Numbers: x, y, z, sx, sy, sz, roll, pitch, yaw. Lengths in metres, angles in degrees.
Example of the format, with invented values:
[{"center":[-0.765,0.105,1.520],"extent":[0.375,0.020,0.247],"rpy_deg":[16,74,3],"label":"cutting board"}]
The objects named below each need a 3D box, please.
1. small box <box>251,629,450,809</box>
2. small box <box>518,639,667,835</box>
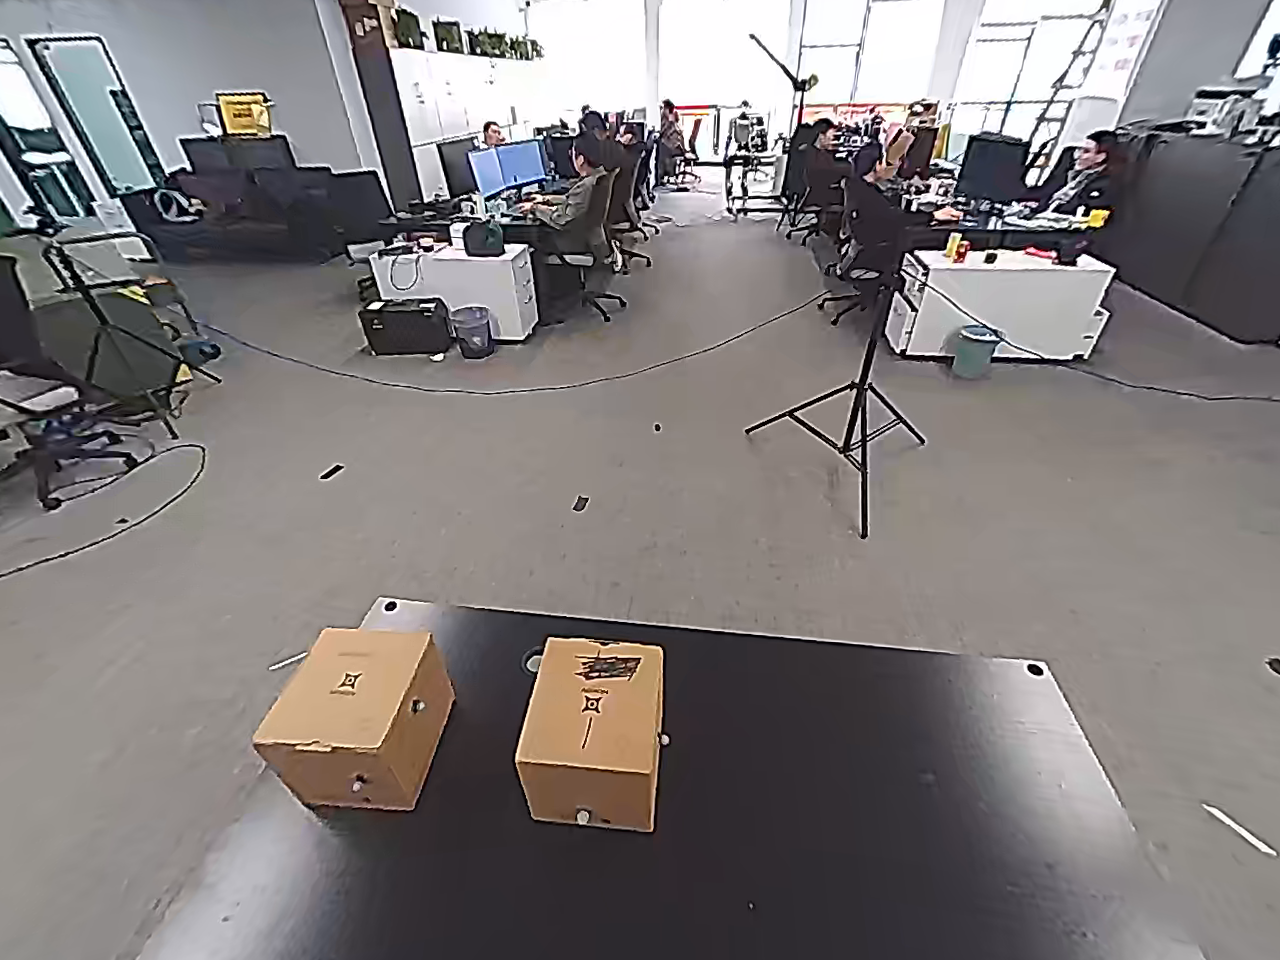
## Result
[{"center":[-0.385,0.336,0.763],"extent":[0.168,0.176,0.179],"rpy_deg":[2,36,2],"label":"small box"},{"center":[-0.053,0.347,0.738],"extent":[0.168,0.176,0.179],"rpy_deg":[3,37,6],"label":"small box"}]
